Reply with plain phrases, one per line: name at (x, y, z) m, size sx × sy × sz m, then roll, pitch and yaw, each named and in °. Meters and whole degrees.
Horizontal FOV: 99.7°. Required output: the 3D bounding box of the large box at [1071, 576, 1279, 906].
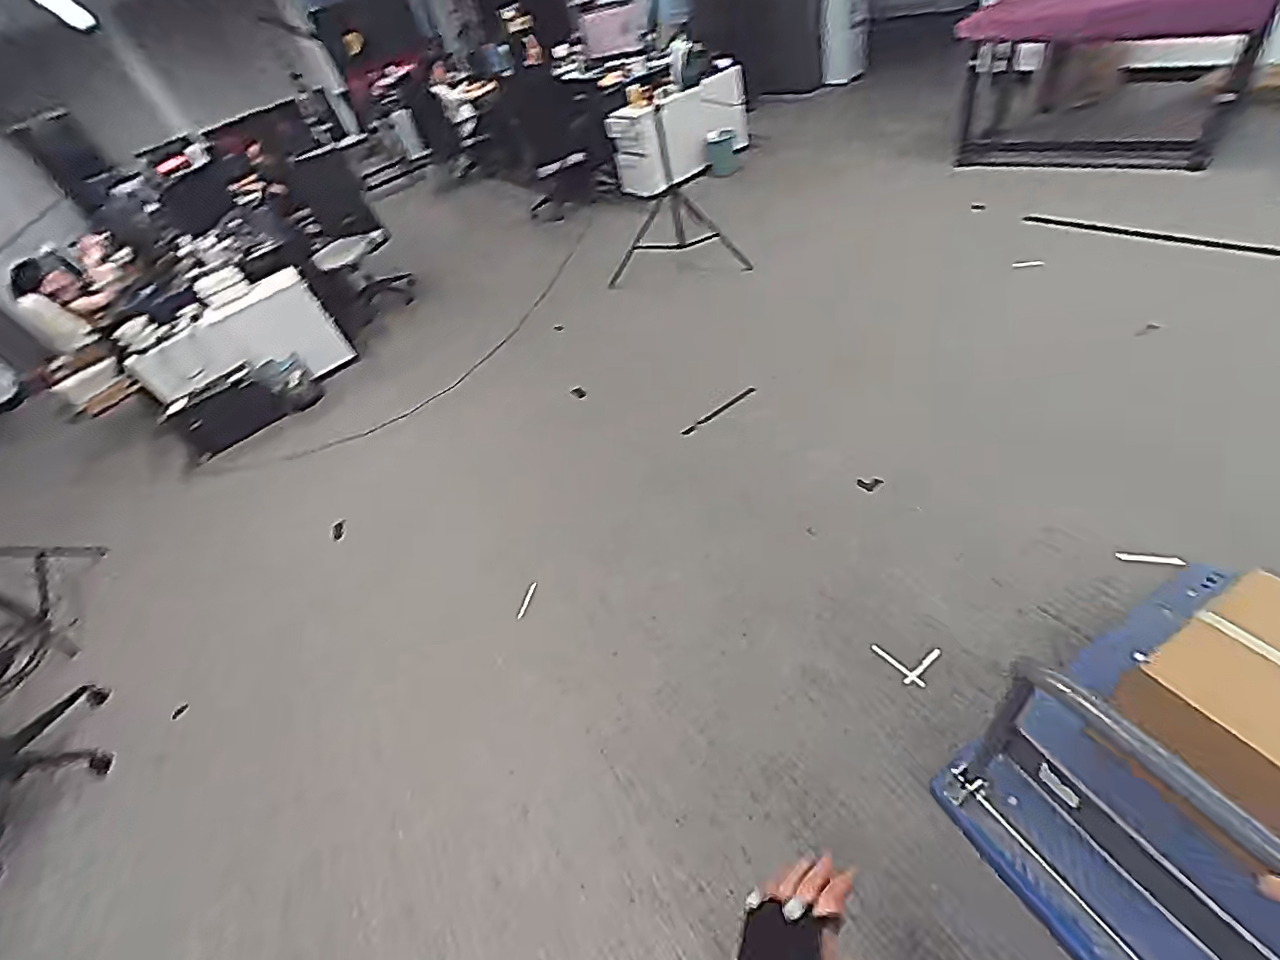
large box at (1.075, 0.454, 0.916) m, size 0.320 × 0.320 × 0.408 m, roll -30°, pitch 43°, yaw -11°
